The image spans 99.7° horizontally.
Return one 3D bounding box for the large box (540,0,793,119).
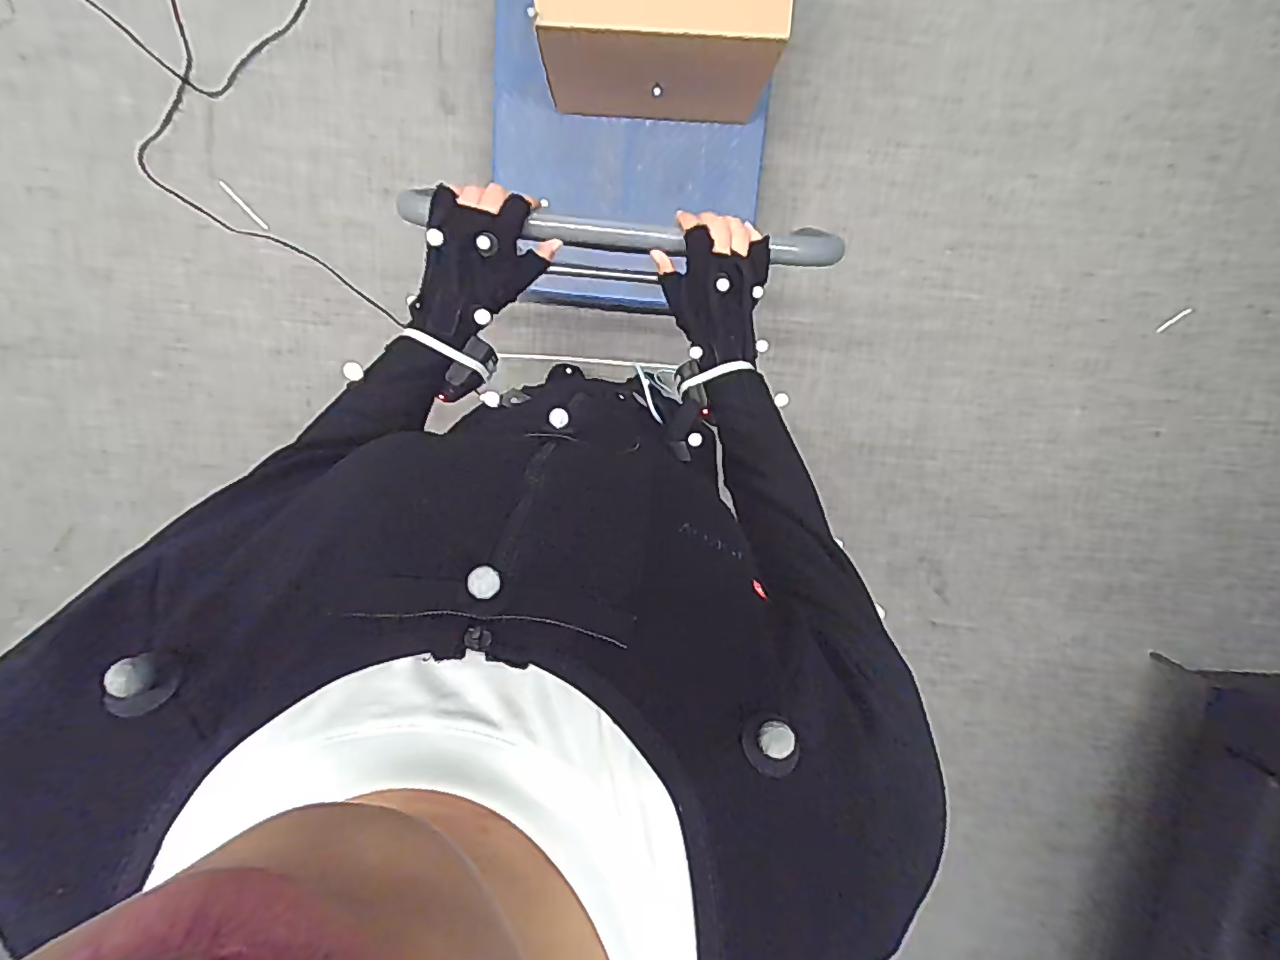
[{"bbox_3d":[0.042,-0.885,0.969,0.408,0.320,0.320,1,101,-2],"label":"large box"}]
